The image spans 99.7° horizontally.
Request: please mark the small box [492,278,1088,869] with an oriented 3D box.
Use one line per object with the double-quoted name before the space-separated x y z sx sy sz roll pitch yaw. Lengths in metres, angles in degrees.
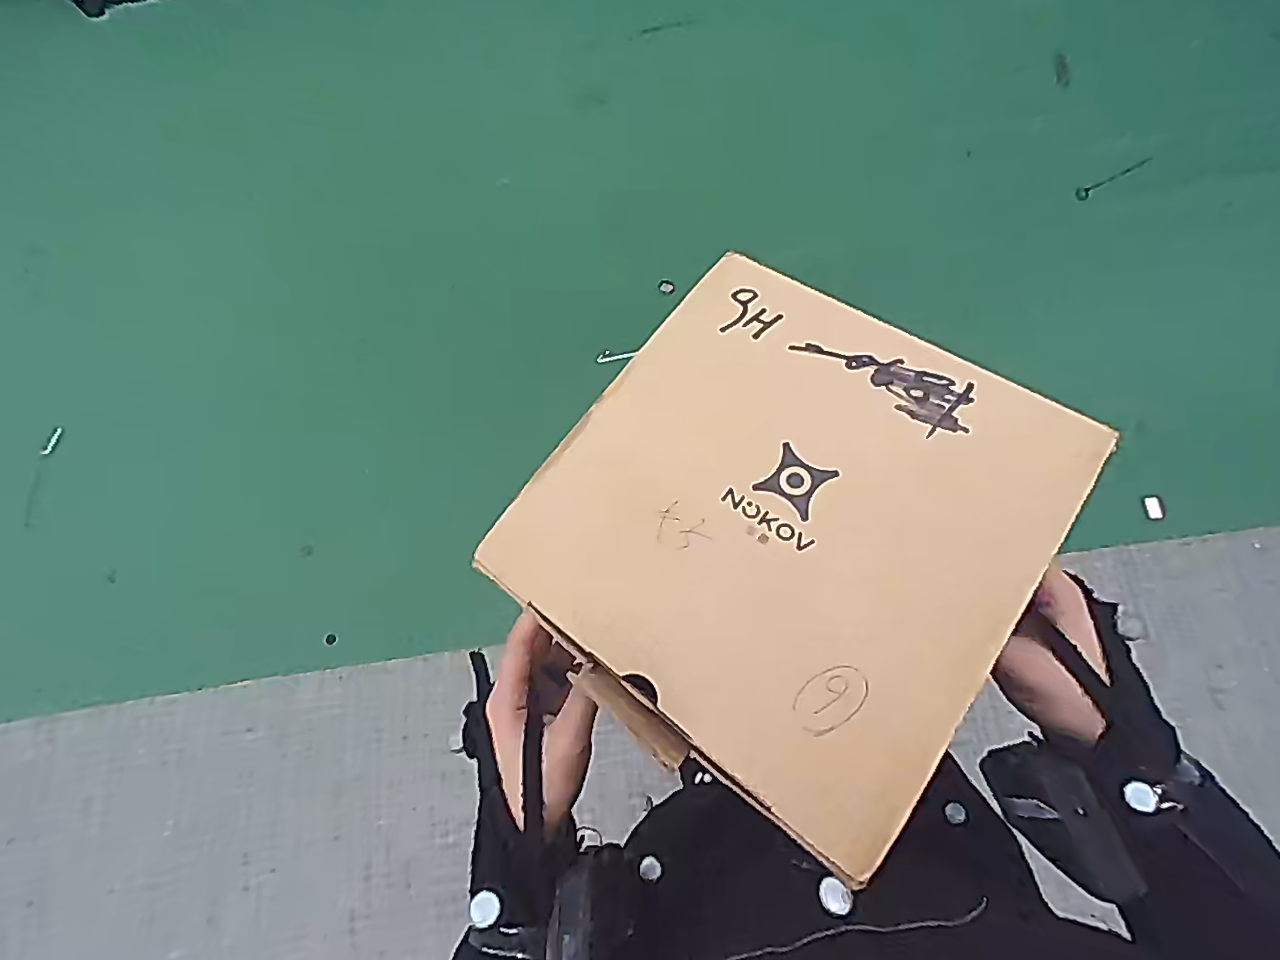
"small box" 0.064 0.042 0.283 0.168 0.176 0.179 34 77 19
